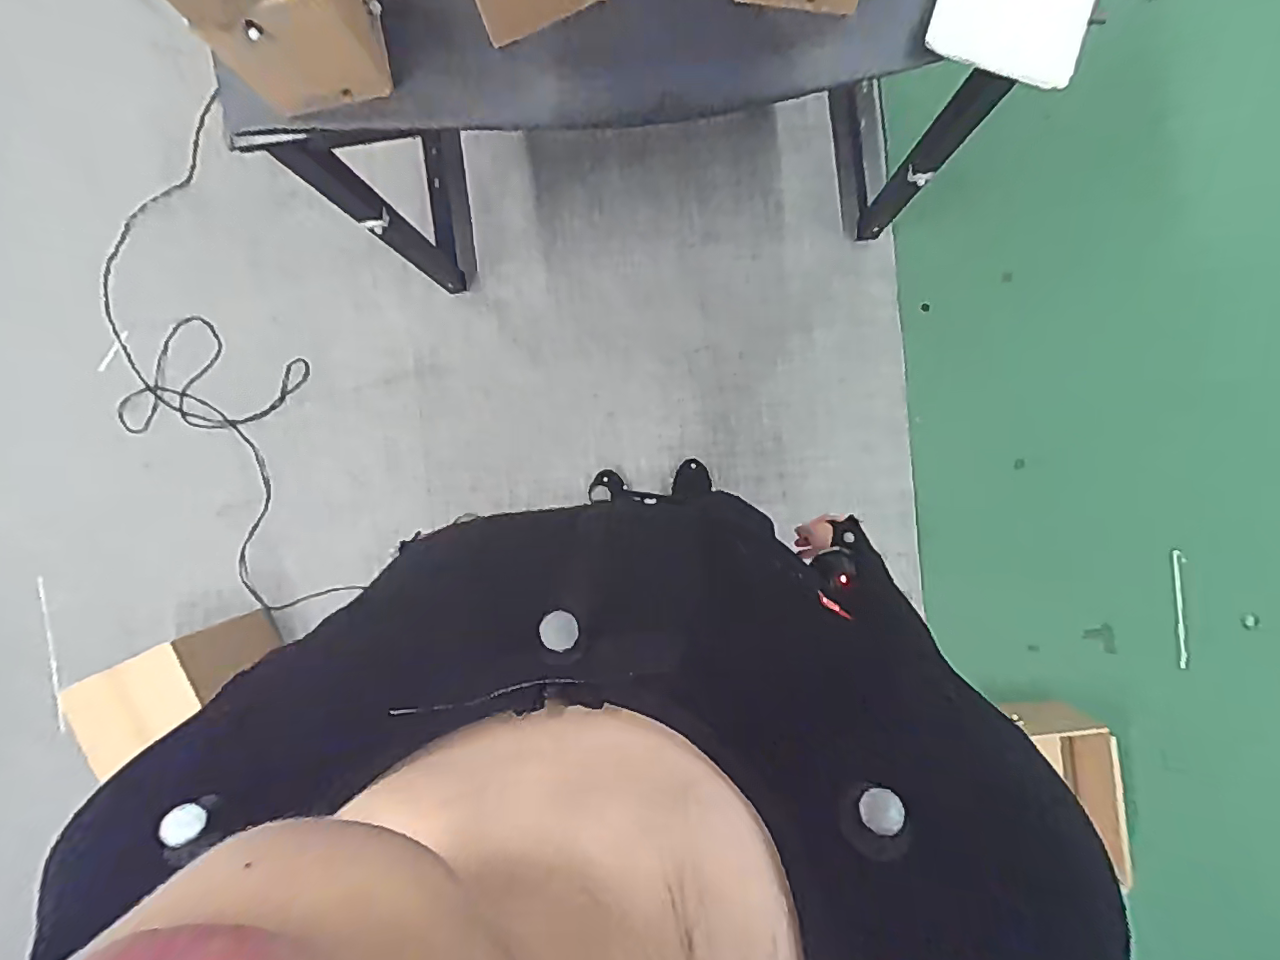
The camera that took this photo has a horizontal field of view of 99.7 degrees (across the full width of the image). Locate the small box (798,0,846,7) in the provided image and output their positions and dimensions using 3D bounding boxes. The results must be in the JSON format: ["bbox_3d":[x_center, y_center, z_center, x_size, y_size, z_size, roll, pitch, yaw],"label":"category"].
[{"bbox_3d":[0.210,-0.733,0.647,0.168,0.176,0.179,10,92,3],"label":"small box"}]

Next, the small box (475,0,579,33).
[{"bbox_3d":[-0.161,-0.718,0.670,0.179,0.176,0.168,-23,91,3],"label":"small box"}]

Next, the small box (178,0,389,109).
[{"bbox_3d":[-0.449,-0.623,0.685,0.168,0.176,0.179,-11,91,3],"label":"small box"}]
